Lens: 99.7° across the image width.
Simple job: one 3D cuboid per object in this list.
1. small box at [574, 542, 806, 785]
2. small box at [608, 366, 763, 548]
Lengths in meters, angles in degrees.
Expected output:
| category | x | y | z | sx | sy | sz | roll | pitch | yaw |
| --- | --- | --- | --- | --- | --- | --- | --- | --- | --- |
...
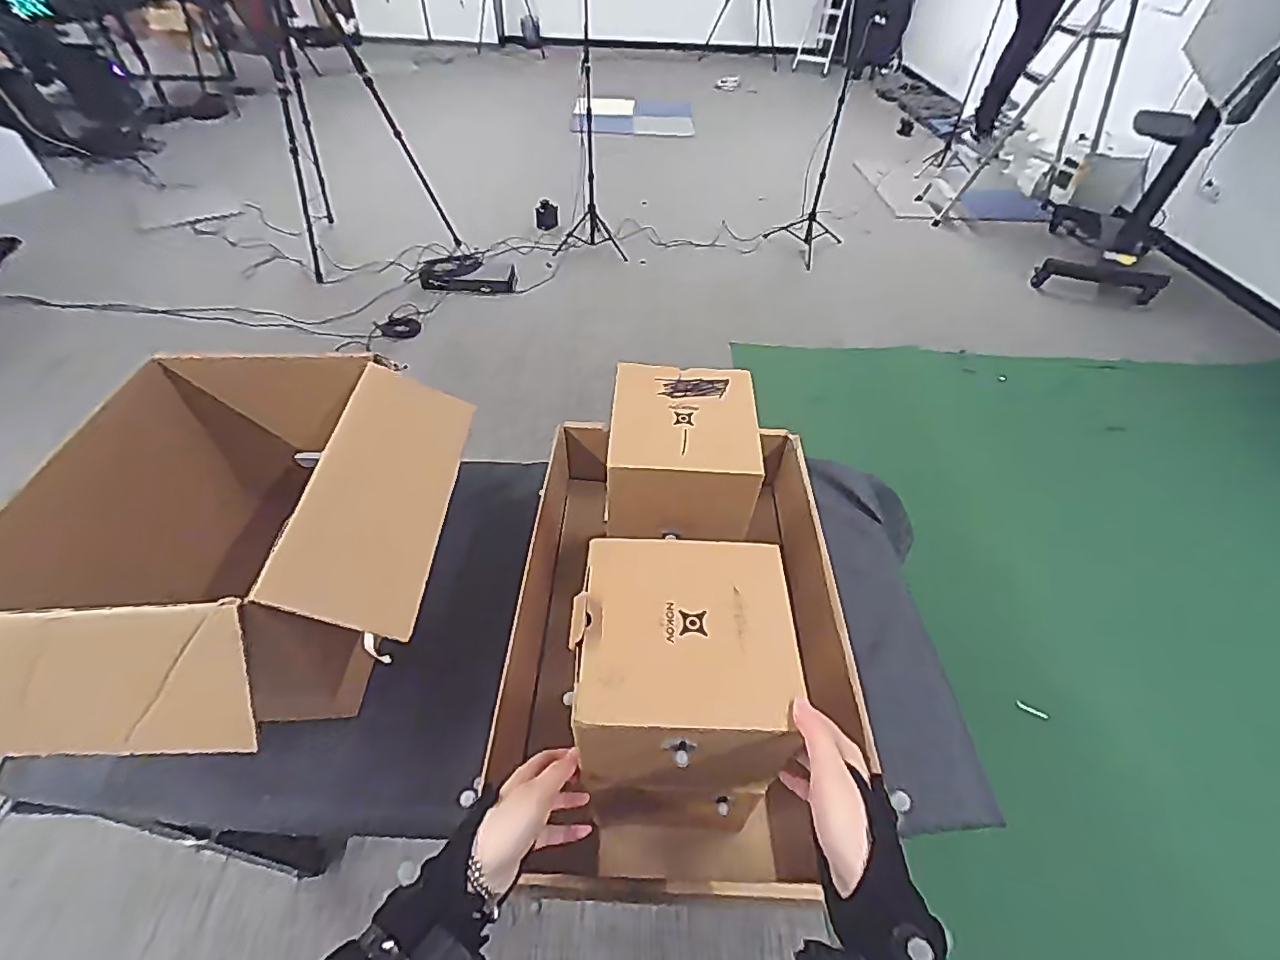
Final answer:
| category | x | y | z | sx | sy | sz | roll | pitch | yaw |
| --- | --- | --- | --- | --- | --- | --- | --- | --- | --- |
| small box | 0.035 | 0.175 | 0.508 | 0.179 | 0.176 | 0.168 | 3 | 49 | -2 |
| small box | 0.049 | -0.018 | 0.678 | 0.168 | 0.176 | 0.179 | 4 | 50 | 0 |
